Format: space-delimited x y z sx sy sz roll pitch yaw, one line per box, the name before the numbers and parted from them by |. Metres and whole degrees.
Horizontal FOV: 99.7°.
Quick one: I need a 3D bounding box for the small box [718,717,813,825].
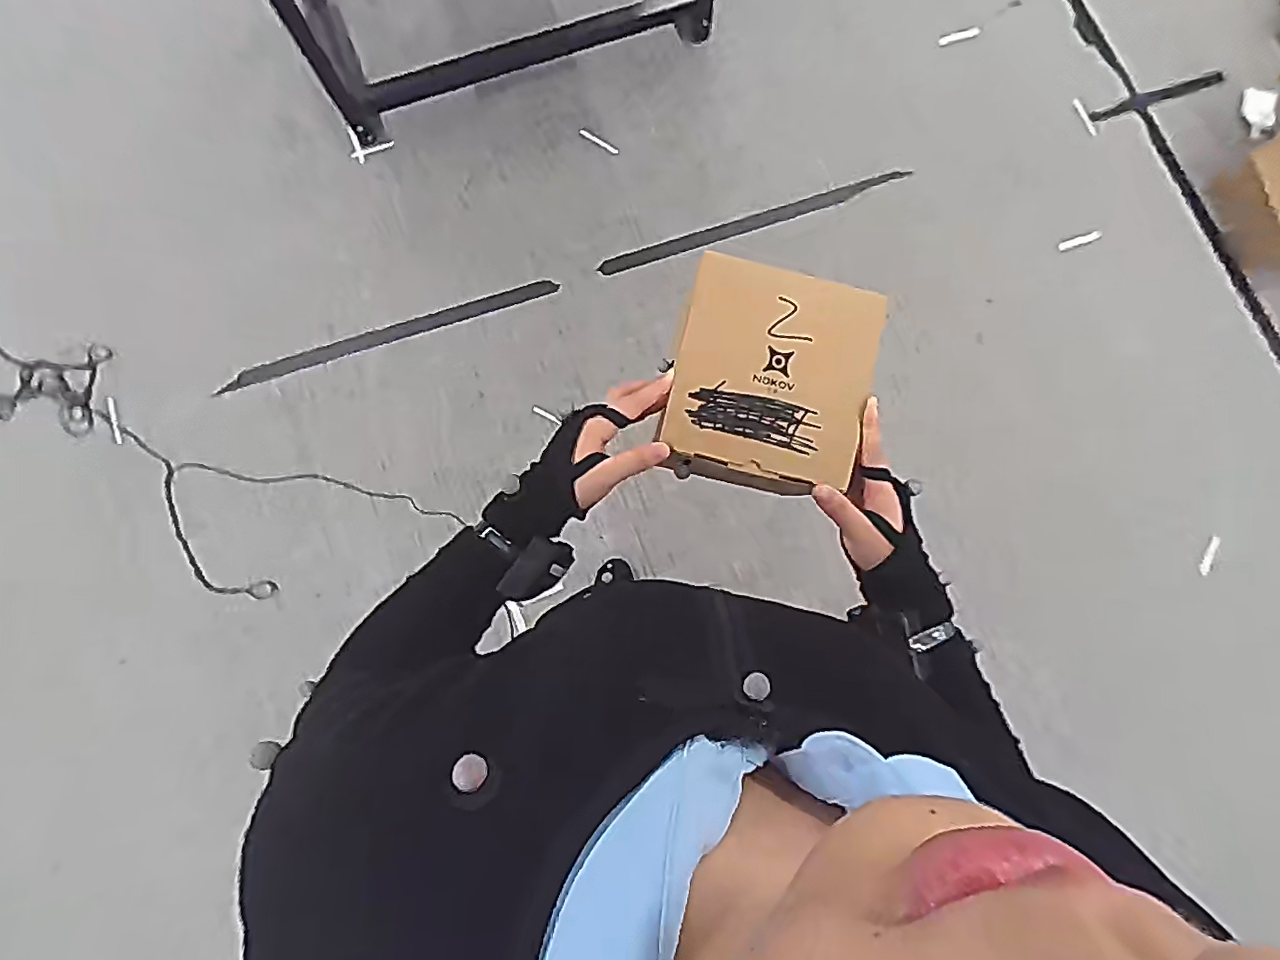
small box | 0.304 0.713 1.352 0.168 0.176 0.179 -16 82 -4
